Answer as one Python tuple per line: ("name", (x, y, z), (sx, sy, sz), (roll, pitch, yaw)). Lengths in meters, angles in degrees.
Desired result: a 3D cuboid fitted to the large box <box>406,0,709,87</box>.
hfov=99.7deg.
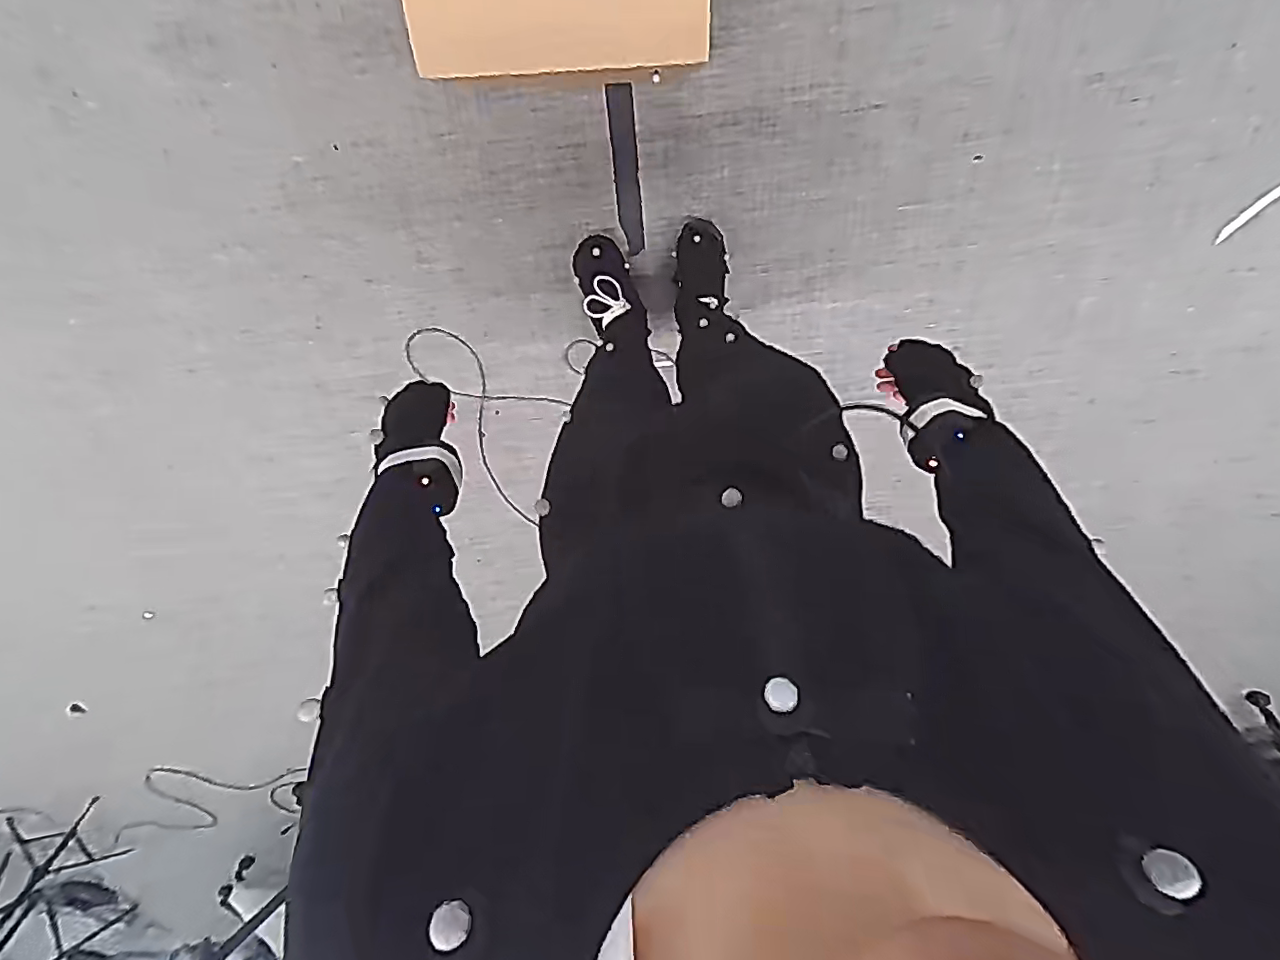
("large box", (-0.115, -0.779, 0.788), (0.408, 0.320, 0.320), (-3, 124, 1))
